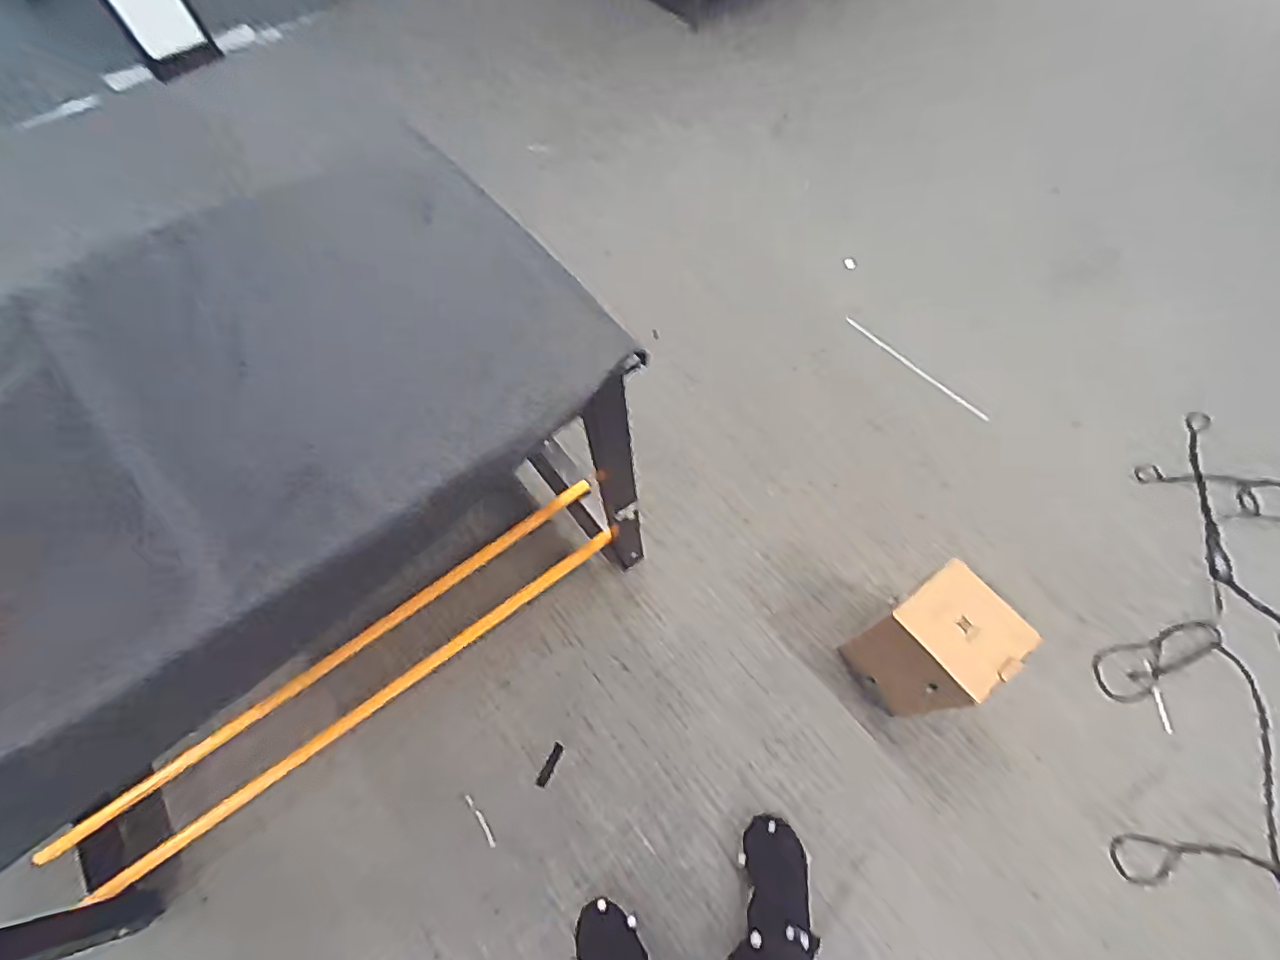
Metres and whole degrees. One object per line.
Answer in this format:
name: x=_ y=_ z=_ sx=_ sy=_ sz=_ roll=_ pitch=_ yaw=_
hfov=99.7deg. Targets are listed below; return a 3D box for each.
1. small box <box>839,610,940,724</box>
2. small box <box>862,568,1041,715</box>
small box: x=0.538 y=0.365 z=1.087 sx=0.168 sy=0.176 sz=0.179 roll=-32 pitch=67 yaw=-14
small box: x=0.527 y=0.289 z=0.943 sx=0.168 sy=0.176 sz=0.179 roll=-34 pitch=65 yaw=-15
